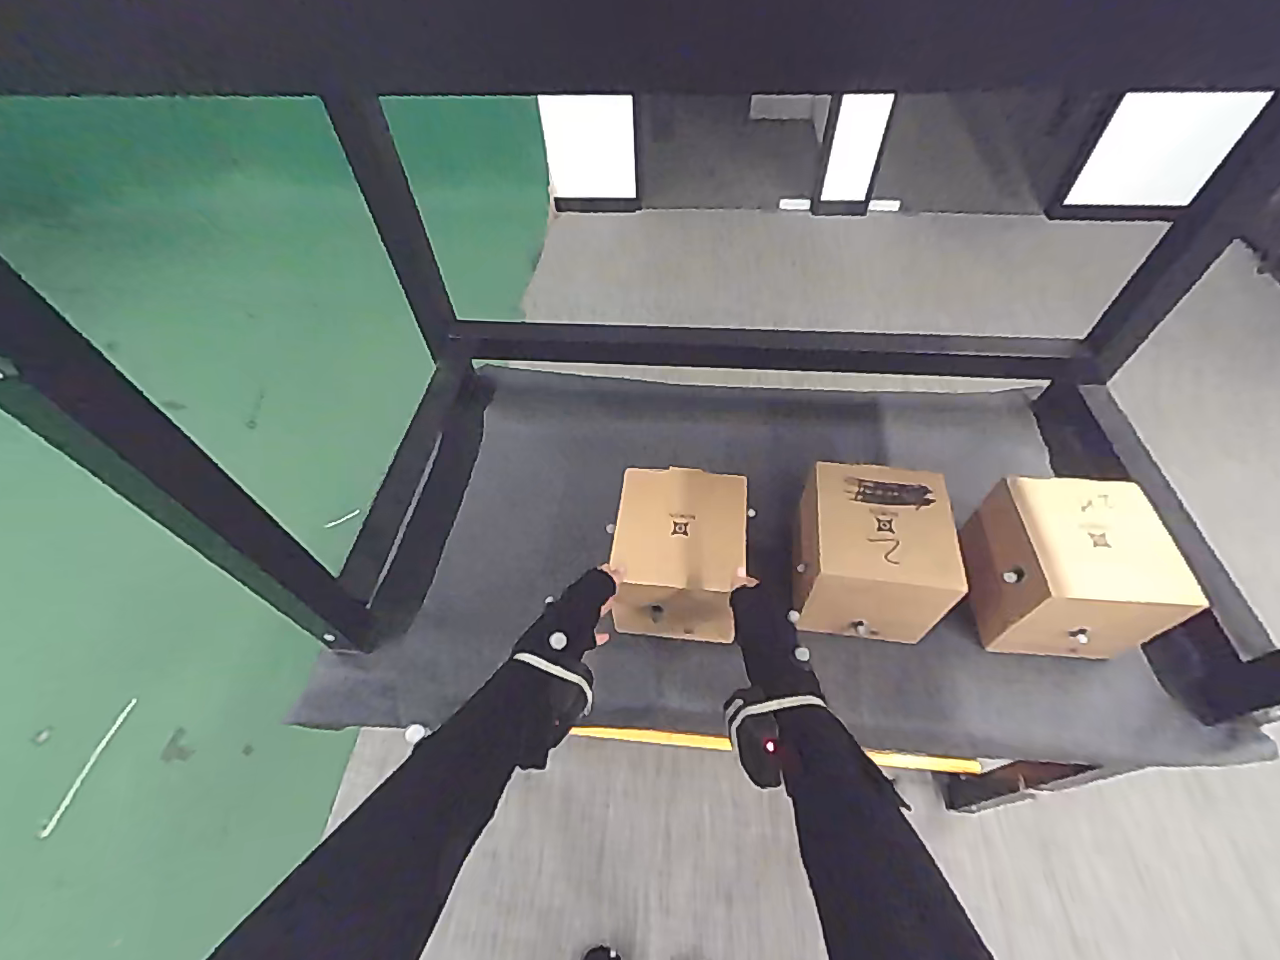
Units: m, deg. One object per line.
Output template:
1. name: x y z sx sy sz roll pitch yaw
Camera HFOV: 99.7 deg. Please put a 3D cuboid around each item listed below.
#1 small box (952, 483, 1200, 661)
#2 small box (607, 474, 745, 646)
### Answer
1. small box: 0.549 0.125 0.717 0.168 0.176 0.179 3 51 5
2. small box: 0.055 0.114 0.750 0.168 0.176 0.179 4 52 6
